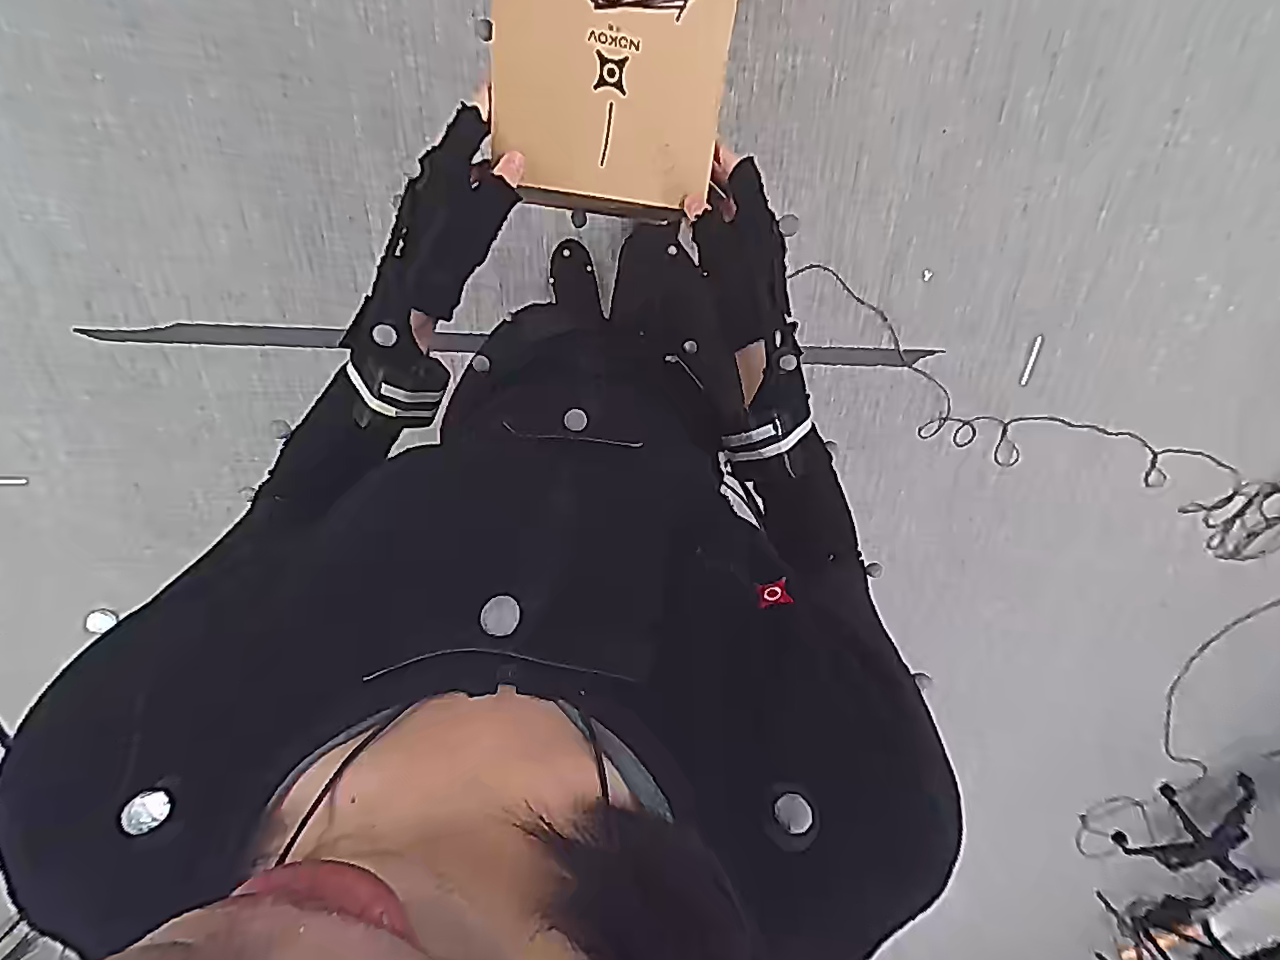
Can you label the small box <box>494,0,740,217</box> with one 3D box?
[{"bbox_3d":[-0.031,-0.328,0.447,0.168,0.176,0.179,3,112,-13],"label":"small box"}]
